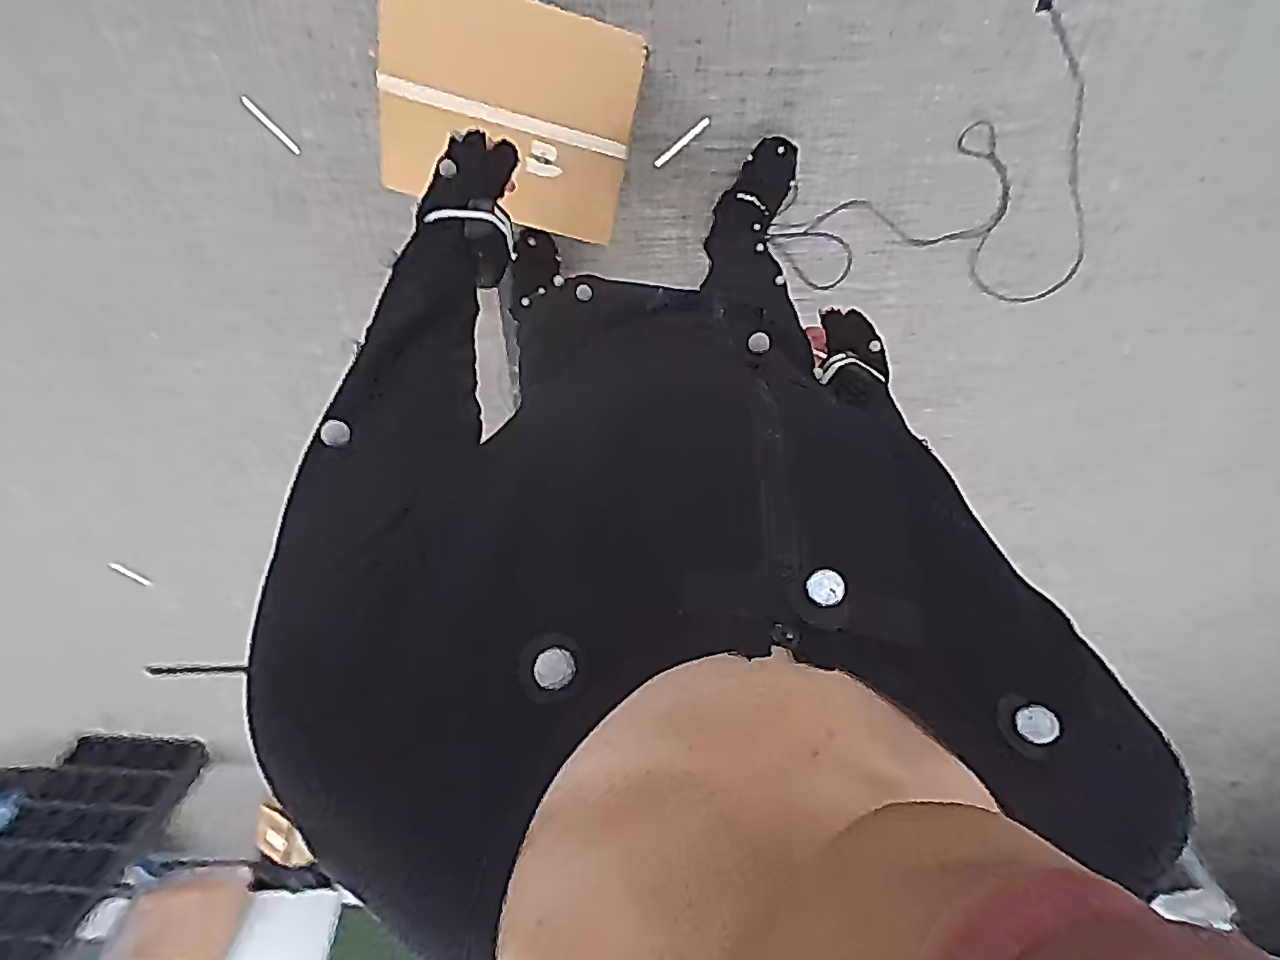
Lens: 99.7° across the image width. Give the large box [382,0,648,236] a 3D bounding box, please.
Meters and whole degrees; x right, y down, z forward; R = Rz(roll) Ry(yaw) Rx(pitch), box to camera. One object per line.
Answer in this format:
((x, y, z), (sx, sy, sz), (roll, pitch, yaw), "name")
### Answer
((-0.222, -0.690, 1.011), (0.408, 0.320, 0.320), (11, 124, -10), "large box")
